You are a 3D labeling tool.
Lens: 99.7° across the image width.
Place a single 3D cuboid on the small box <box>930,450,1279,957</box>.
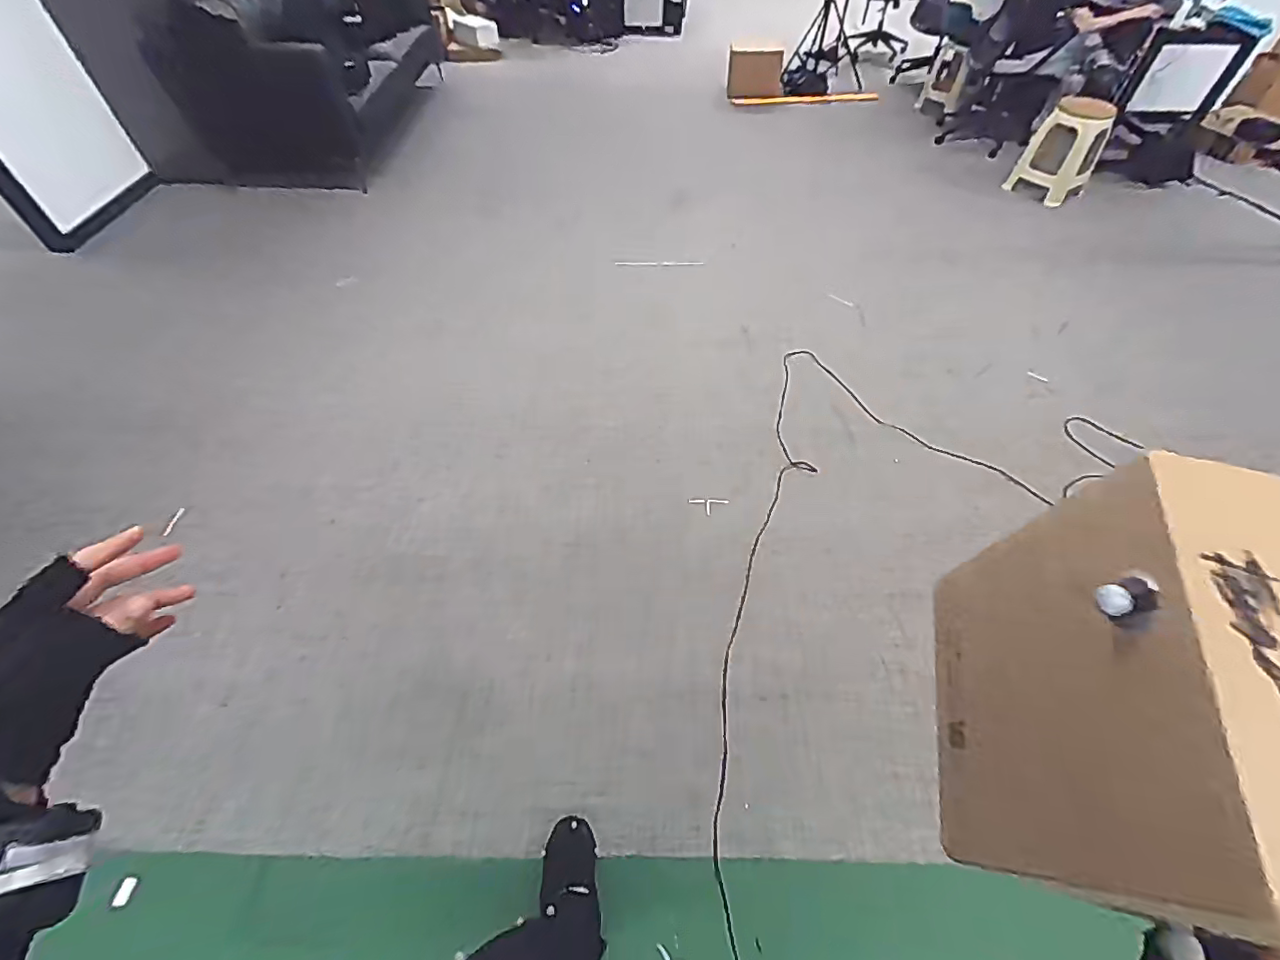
[{"bbox_3d":[0.270,0.116,0.256,0.179,0.176,0.168,16,60,3],"label":"small box"}]
